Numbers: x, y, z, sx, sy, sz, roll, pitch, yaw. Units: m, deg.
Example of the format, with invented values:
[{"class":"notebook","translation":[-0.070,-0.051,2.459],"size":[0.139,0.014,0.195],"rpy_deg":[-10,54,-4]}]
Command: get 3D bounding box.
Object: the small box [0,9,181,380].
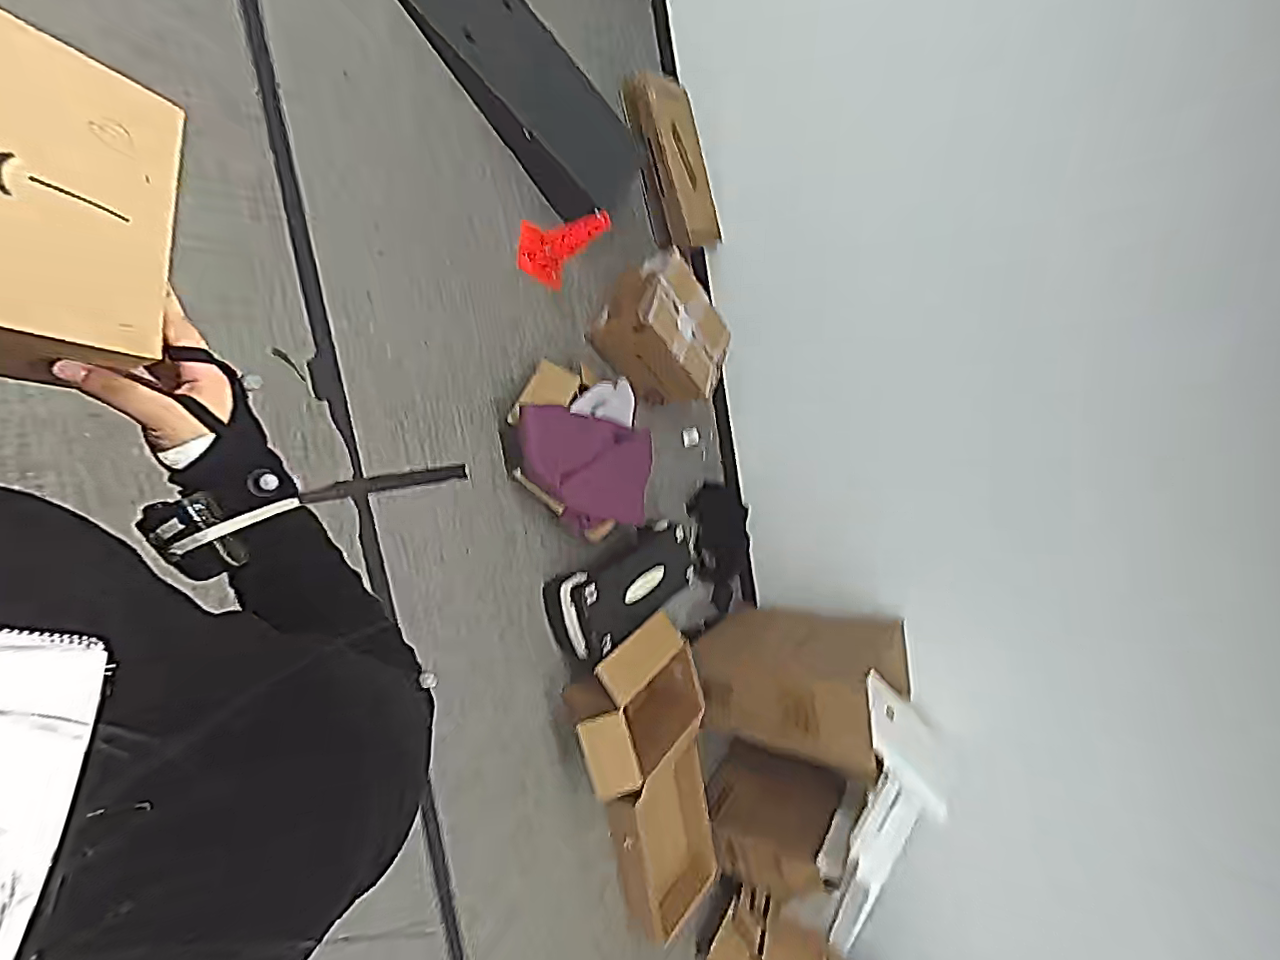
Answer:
[{"class":"small box","translation":[-0.403,-0.158,0.300],"size":[0.179,0.176,0.168],"rpy_deg":[8,83,-59]}]
